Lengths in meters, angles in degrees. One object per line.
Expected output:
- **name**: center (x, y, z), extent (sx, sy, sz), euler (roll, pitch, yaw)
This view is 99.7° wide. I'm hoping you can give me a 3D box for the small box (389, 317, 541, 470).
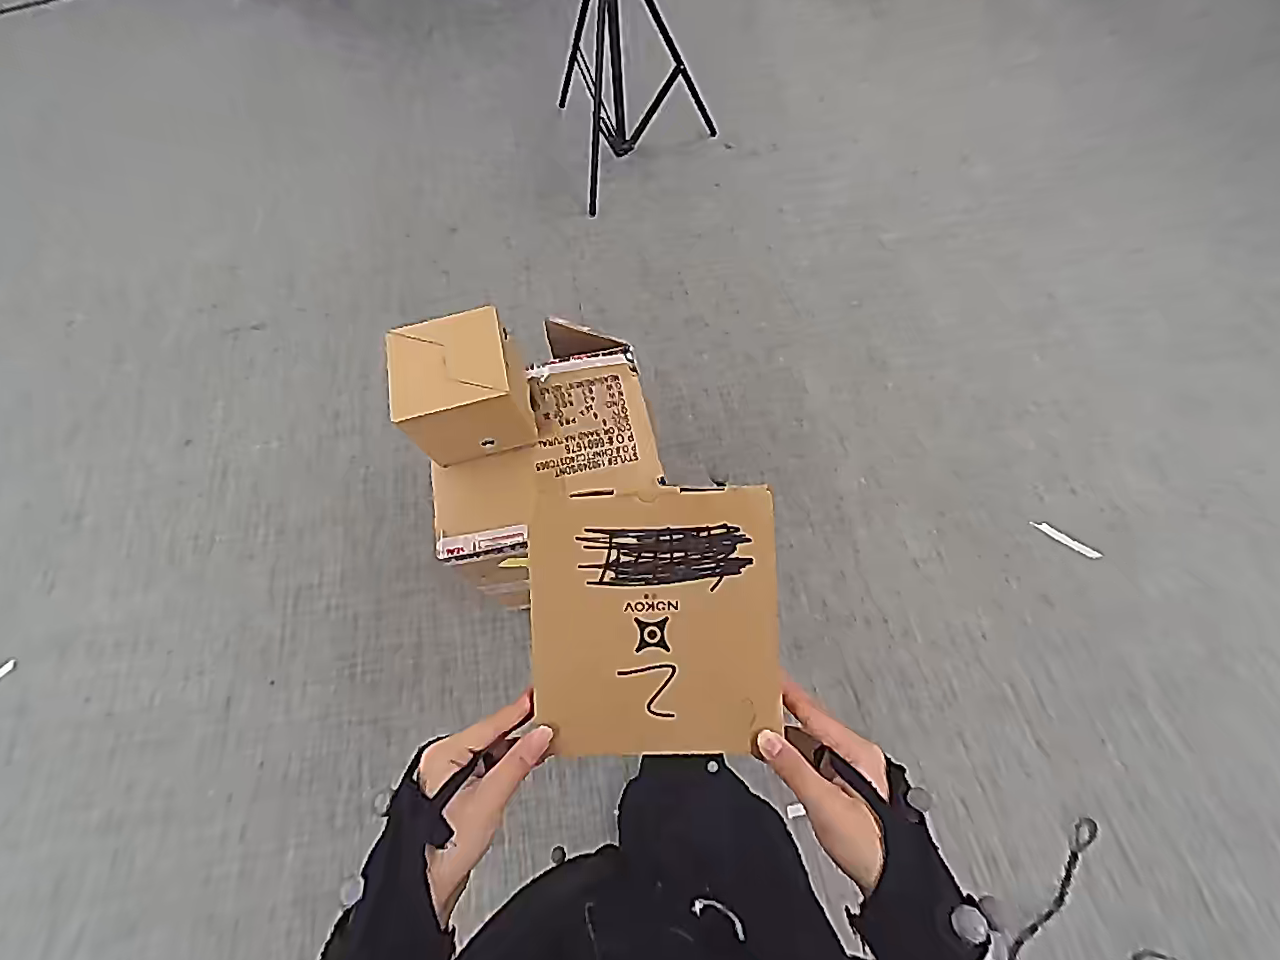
- **small box**: center (-0.279, -0.139, 0.882), extent (0.179, 0.176, 0.168), euler (-14, 67, -1)
